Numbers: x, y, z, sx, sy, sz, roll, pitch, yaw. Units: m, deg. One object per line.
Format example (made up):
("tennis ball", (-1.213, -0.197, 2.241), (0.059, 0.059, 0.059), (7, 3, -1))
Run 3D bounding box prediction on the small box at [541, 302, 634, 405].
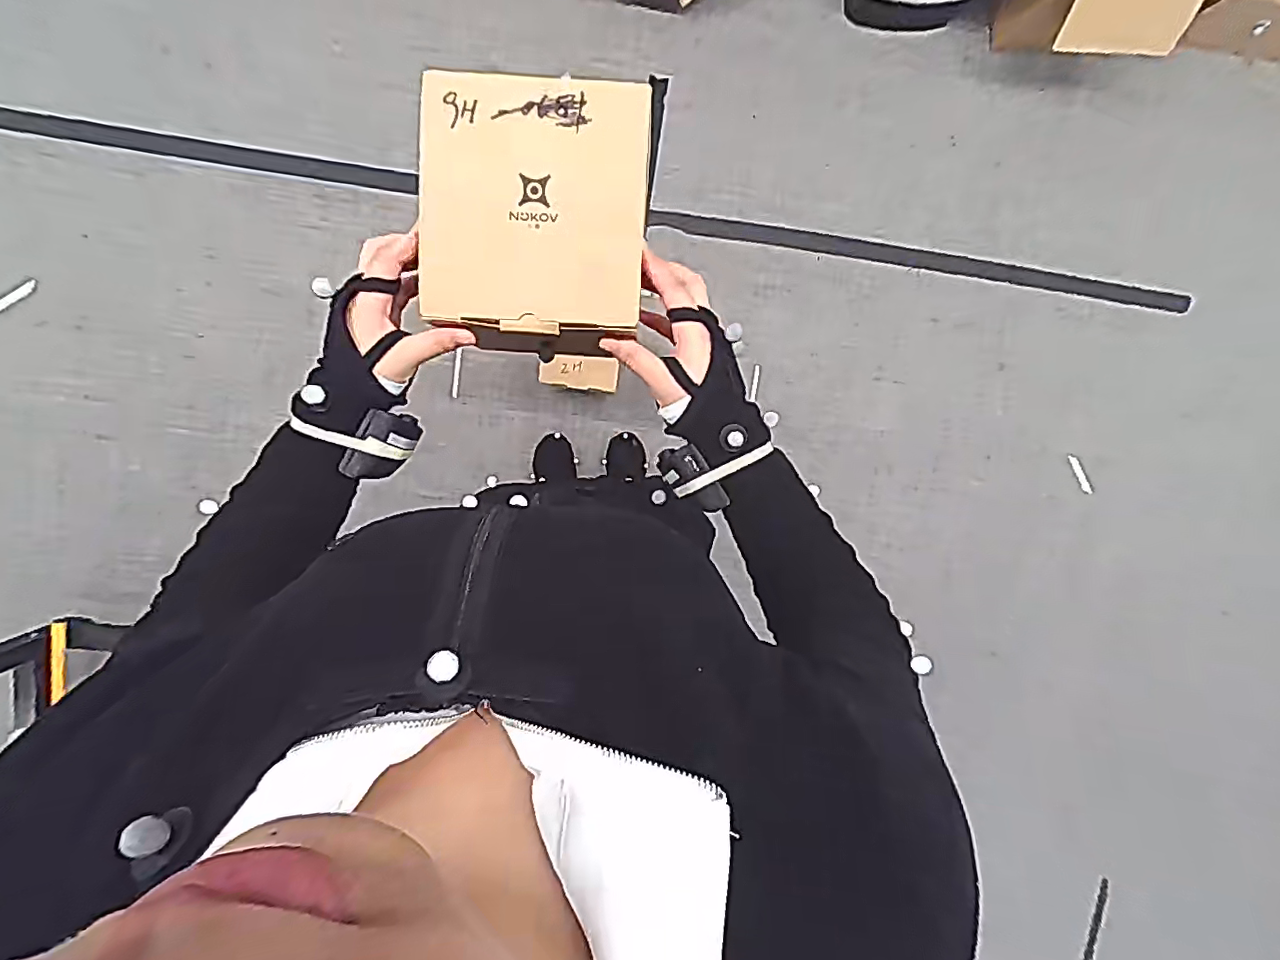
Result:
("small box", (-0.108, -0.255, 1.128), (0.168, 0.176, 0.179), (7, 97, -4))
